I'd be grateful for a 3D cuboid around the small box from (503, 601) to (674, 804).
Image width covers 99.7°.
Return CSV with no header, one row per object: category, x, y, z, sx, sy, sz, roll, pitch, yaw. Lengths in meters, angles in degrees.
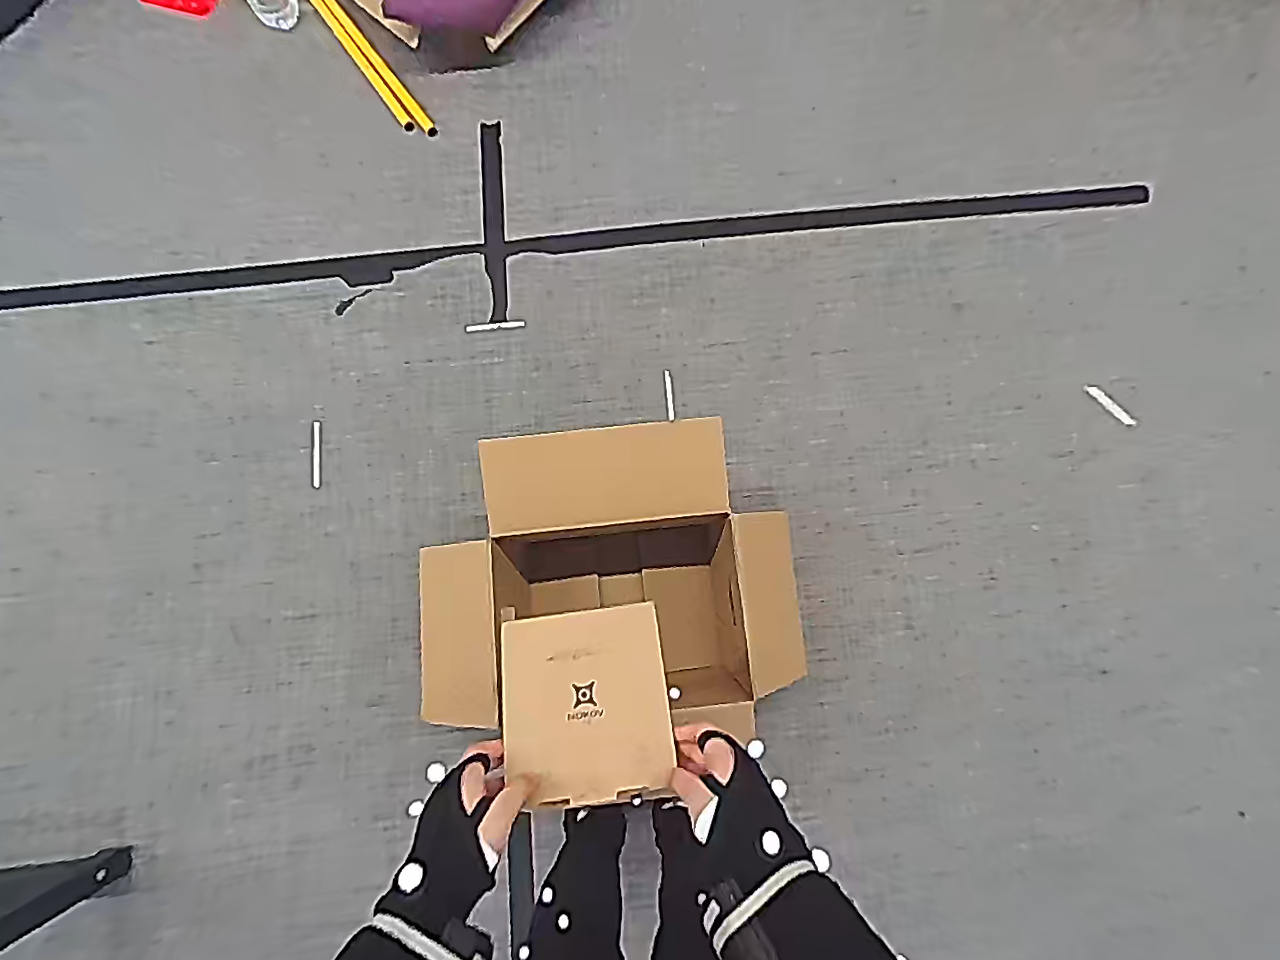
small box,-0.053,0.249,0.617,0.168,0.176,0.179,-7,65,-2
